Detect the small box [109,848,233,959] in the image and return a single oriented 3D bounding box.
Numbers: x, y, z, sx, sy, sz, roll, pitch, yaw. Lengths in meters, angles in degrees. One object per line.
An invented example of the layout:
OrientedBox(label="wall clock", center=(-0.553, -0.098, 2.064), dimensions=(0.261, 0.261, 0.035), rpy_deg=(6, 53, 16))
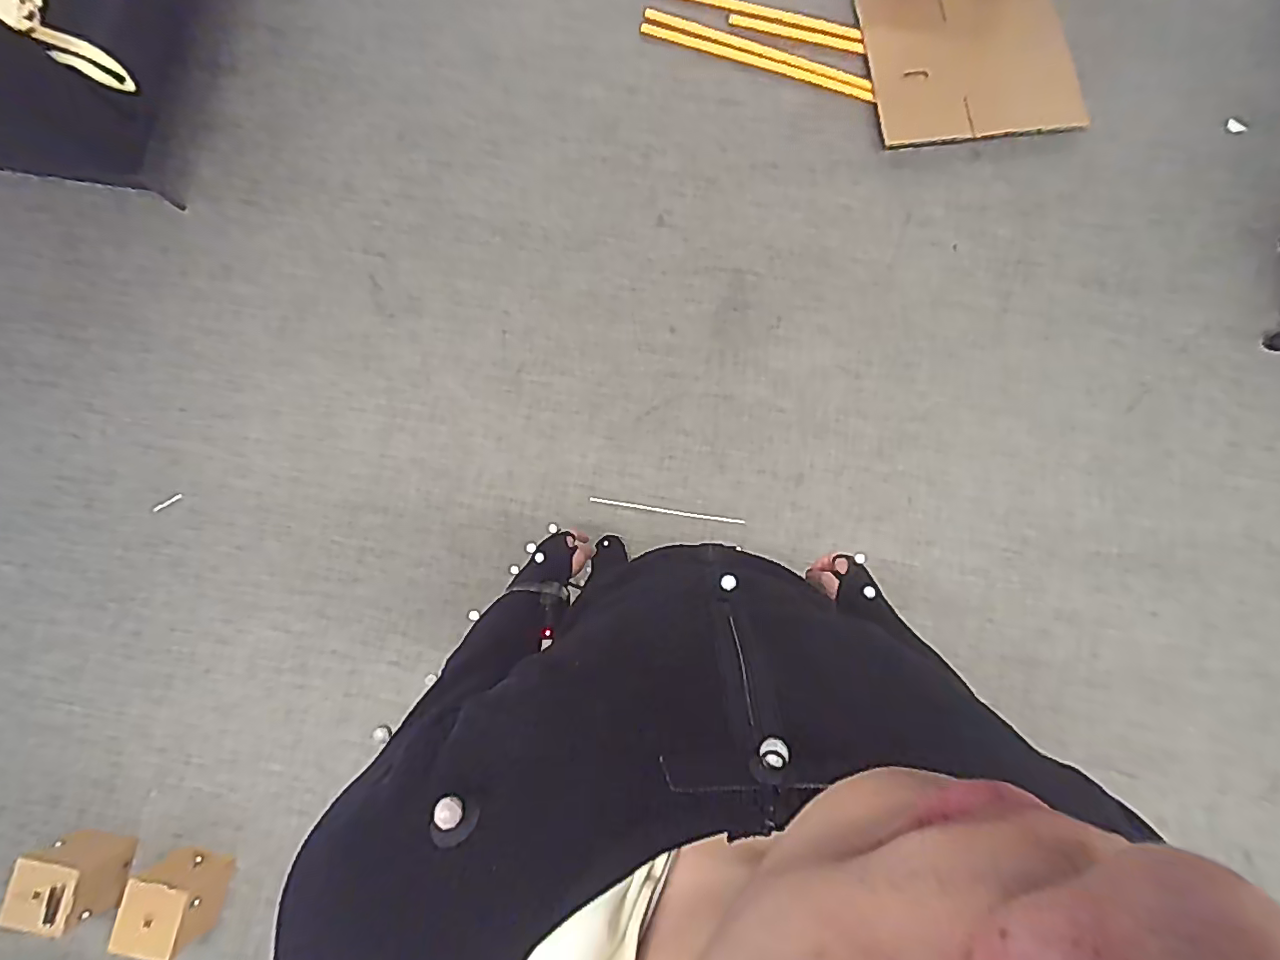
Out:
OrientedBox(label="small box", center=(-1.253, 1.145, 1.458), dimensions=(0.168, 0.176, 0.179), rpy_deg=(11, 82, 3))
